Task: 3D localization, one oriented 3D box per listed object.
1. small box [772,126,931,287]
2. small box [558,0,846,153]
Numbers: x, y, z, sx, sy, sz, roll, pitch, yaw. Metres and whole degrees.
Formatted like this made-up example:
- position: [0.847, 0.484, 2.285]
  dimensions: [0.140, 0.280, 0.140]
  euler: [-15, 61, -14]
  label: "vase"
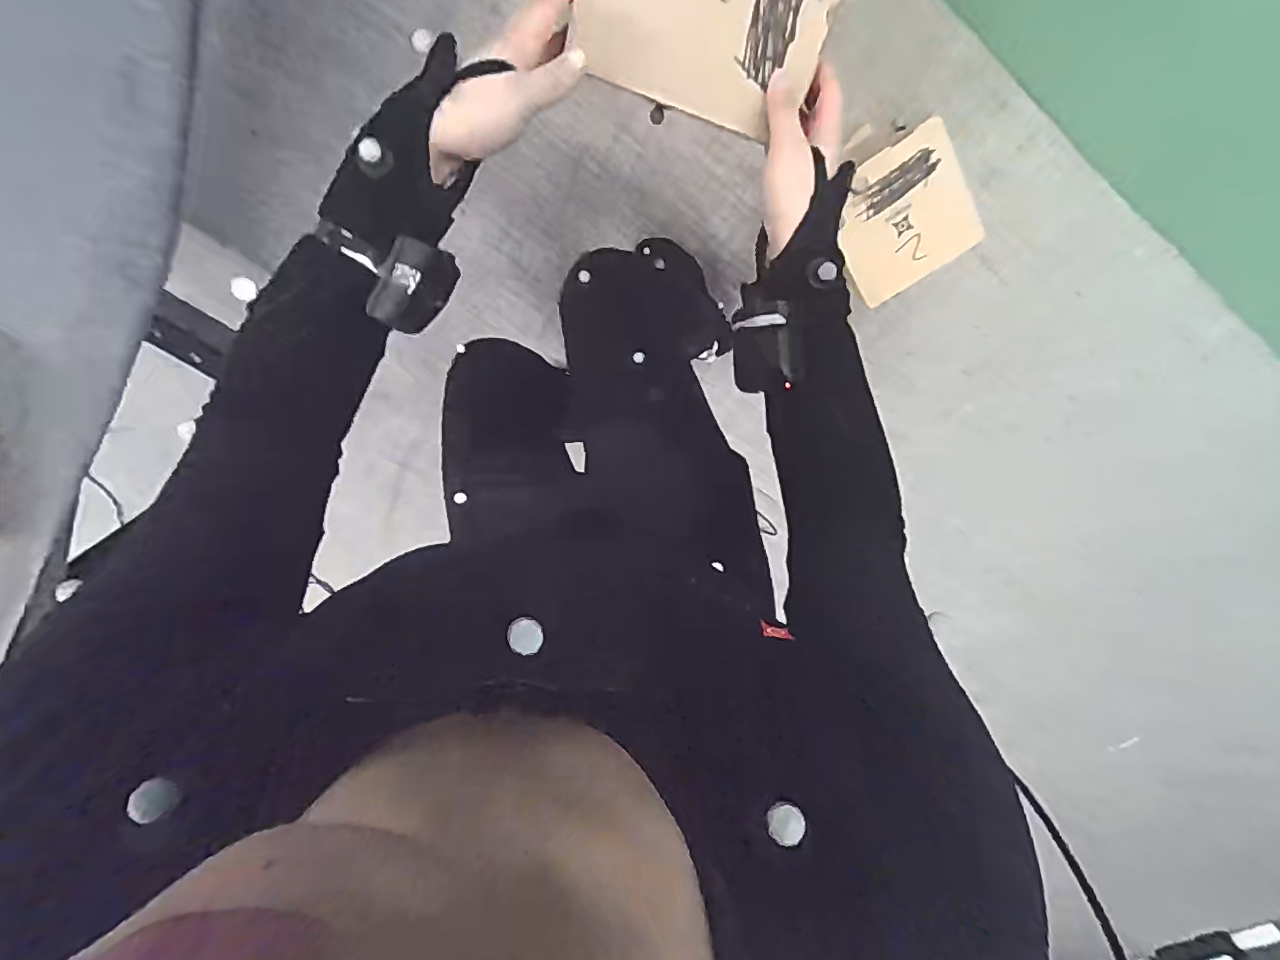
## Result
- position: [0.350, -0.469, 0.923]
  dimensions: [0.179, 0.176, 0.168]
  euler: [41, 116, -19]
  label: "small box"
- position: [0.049, -0.375, 0.407]
  dimensions: [0.179, 0.176, 0.168]
  euler: [15, 125, -10]
  label: "small box"
